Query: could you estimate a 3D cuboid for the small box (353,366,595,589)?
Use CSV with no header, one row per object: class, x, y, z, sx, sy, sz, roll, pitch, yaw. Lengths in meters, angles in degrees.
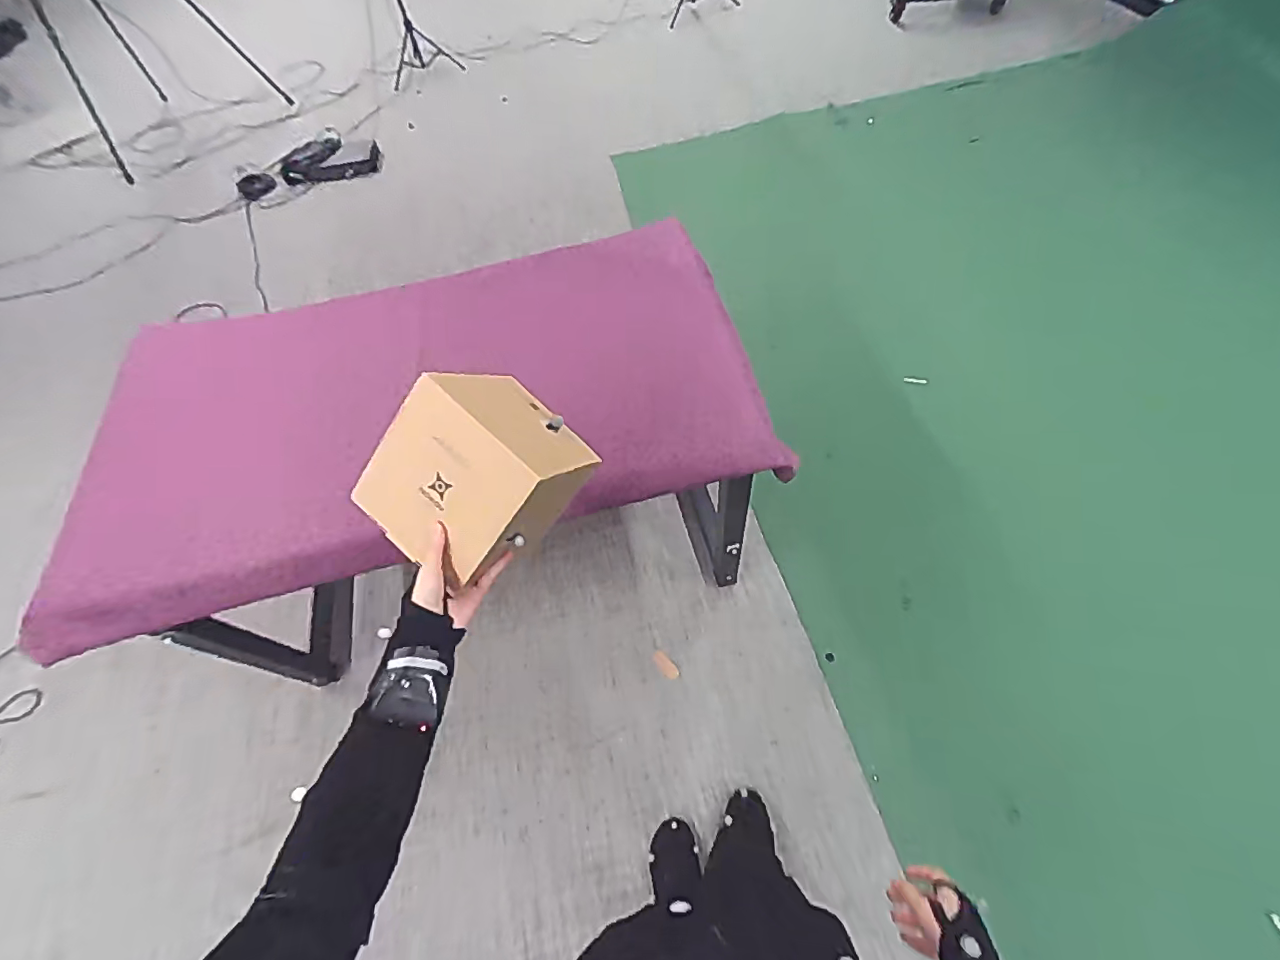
small box,-0.181,-0.010,0.629,0.168,0.176,0.179,42,108,8
